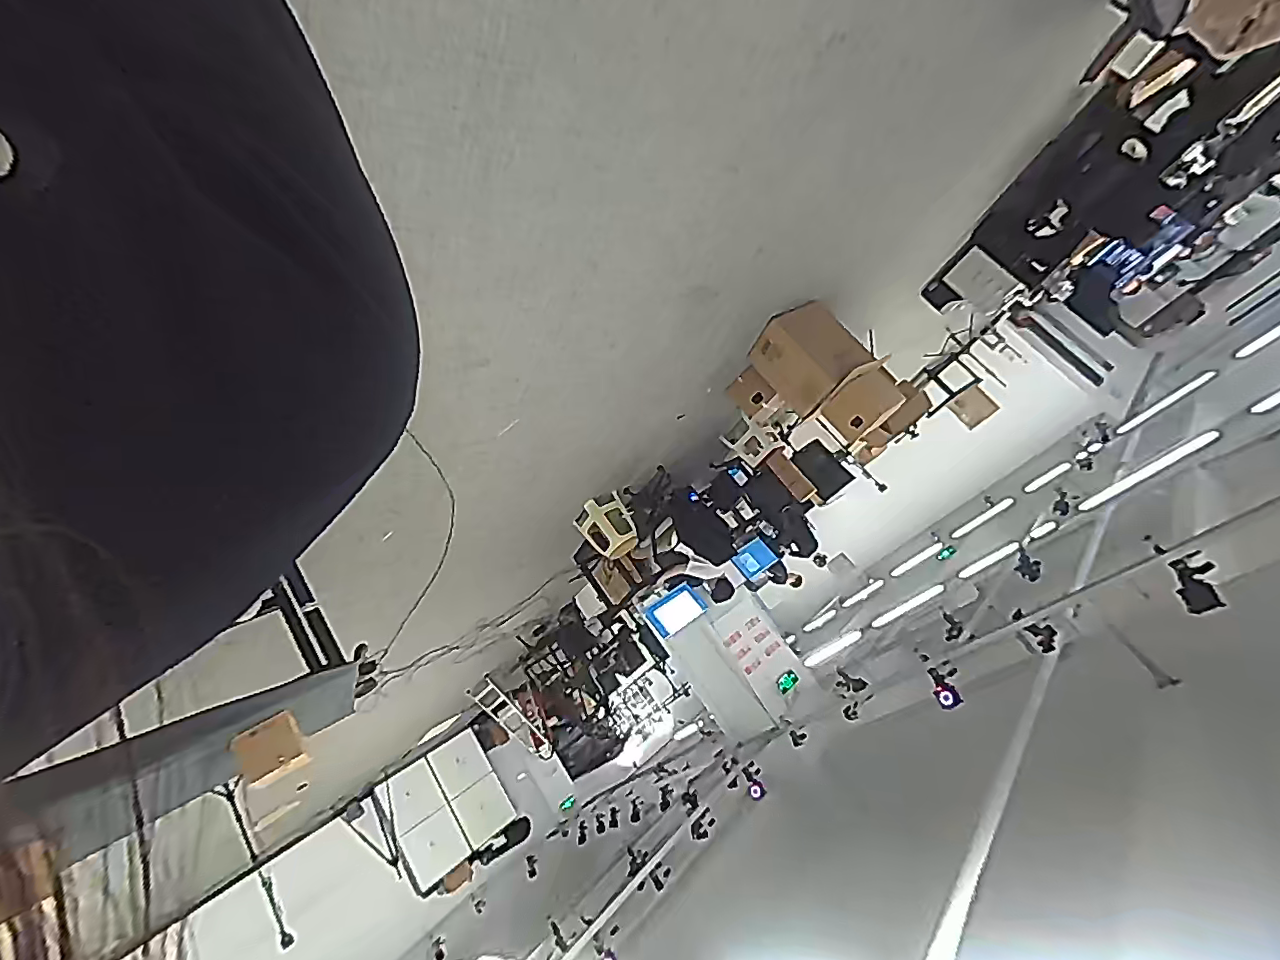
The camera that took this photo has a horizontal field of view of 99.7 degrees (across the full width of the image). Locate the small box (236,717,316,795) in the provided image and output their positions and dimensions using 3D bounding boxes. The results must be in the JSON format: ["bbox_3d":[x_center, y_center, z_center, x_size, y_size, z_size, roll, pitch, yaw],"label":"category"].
[{"bbox_3d":[-1.237,0.938,1.843,0.168,0.176,0.179,-27,162,-34],"label":"small box"}]

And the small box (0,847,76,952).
[{"bbox_3d":[-1.680,1.130,1.457,0.168,0.176,0.179,-25,158,-42],"label":"small box"}]
